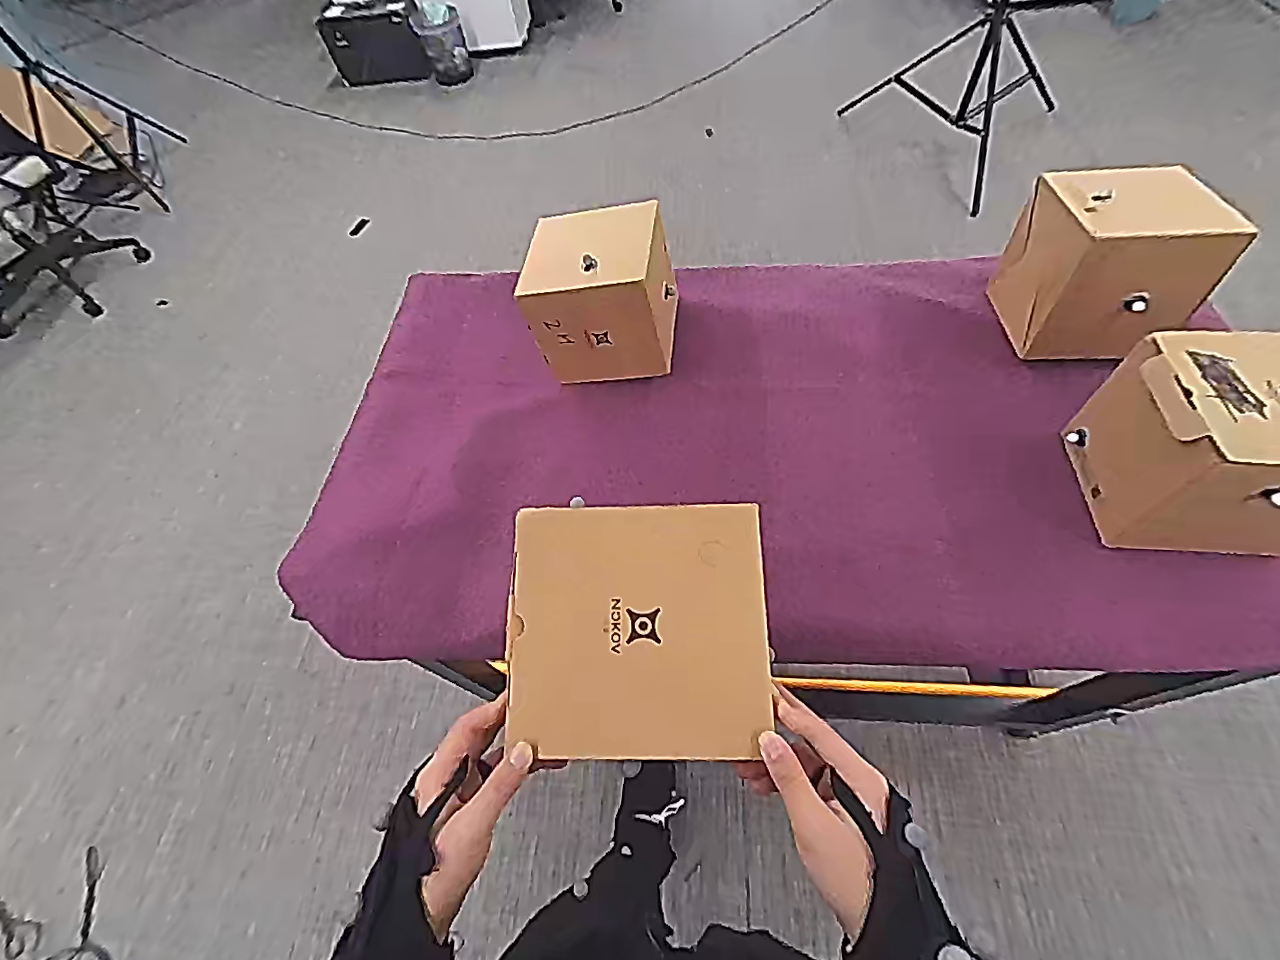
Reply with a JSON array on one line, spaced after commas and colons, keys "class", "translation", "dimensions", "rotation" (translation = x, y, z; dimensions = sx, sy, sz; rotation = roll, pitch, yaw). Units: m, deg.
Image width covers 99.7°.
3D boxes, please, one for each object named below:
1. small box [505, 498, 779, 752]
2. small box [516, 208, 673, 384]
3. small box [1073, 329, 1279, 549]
[{"class": "small box", "translation": [0.004, 0.114, 0.438], "dimensions": [0.179, 0.176, 0.168], "rotation": [-2, 73, 4]}, {"class": "small box", "translation": [-0.050, -0.259, 0.768], "dimensions": [0.179, 0.168, 0.176], "rotation": [-2, 57, 14]}, {"class": "small box", "translation": [0.603, -0.038, 0.567], "dimensions": [0.179, 0.176, 0.168], "rotation": [2, 57, 8]}]
